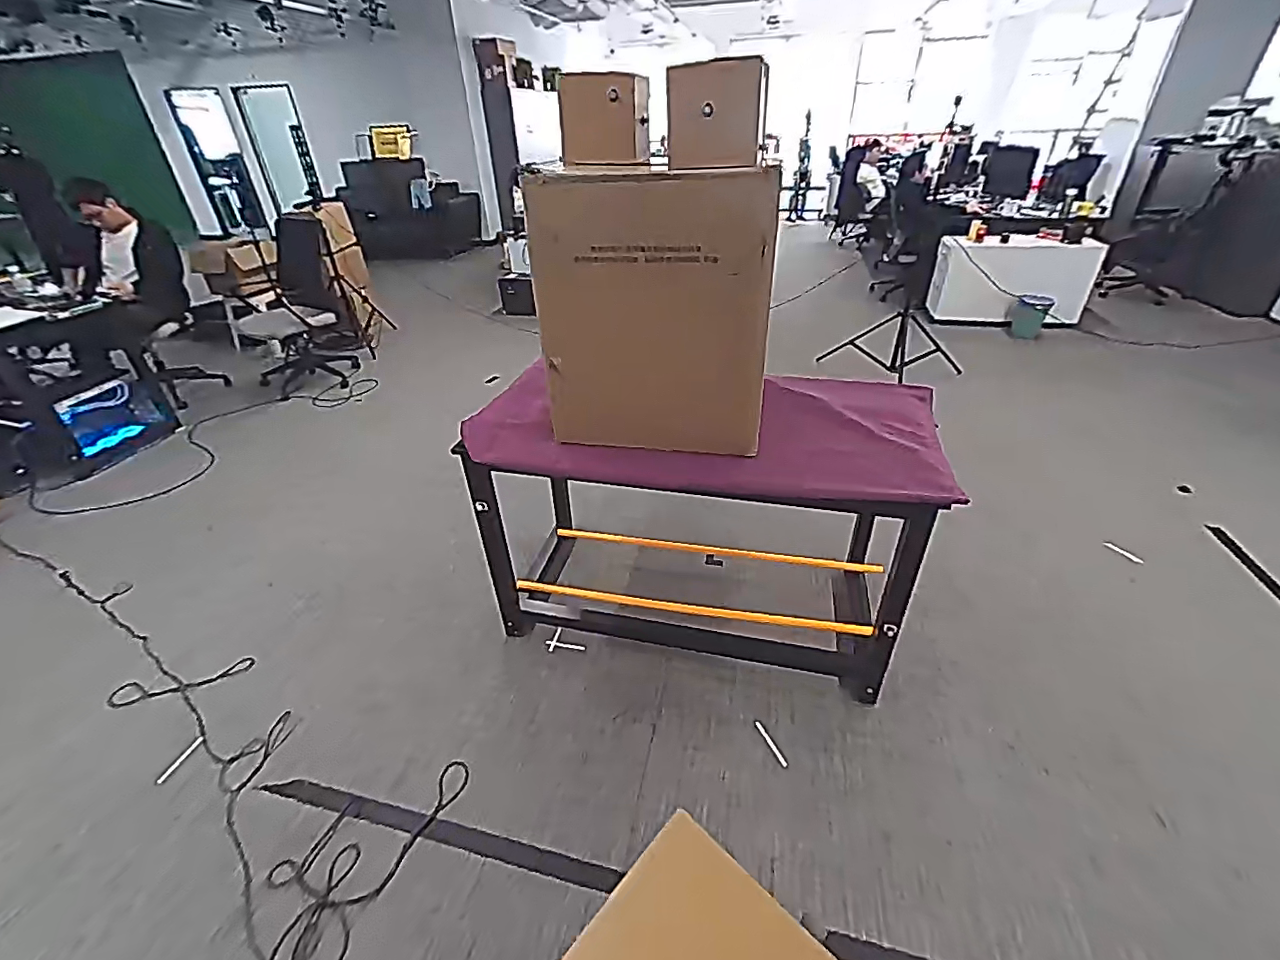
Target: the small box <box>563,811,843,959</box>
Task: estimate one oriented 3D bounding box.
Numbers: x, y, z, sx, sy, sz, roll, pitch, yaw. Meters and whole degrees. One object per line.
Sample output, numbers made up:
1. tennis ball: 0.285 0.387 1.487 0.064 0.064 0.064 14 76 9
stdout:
1. small box: 0.047 0.356 0.325 0.179 0.176 0.168 28 54 36
